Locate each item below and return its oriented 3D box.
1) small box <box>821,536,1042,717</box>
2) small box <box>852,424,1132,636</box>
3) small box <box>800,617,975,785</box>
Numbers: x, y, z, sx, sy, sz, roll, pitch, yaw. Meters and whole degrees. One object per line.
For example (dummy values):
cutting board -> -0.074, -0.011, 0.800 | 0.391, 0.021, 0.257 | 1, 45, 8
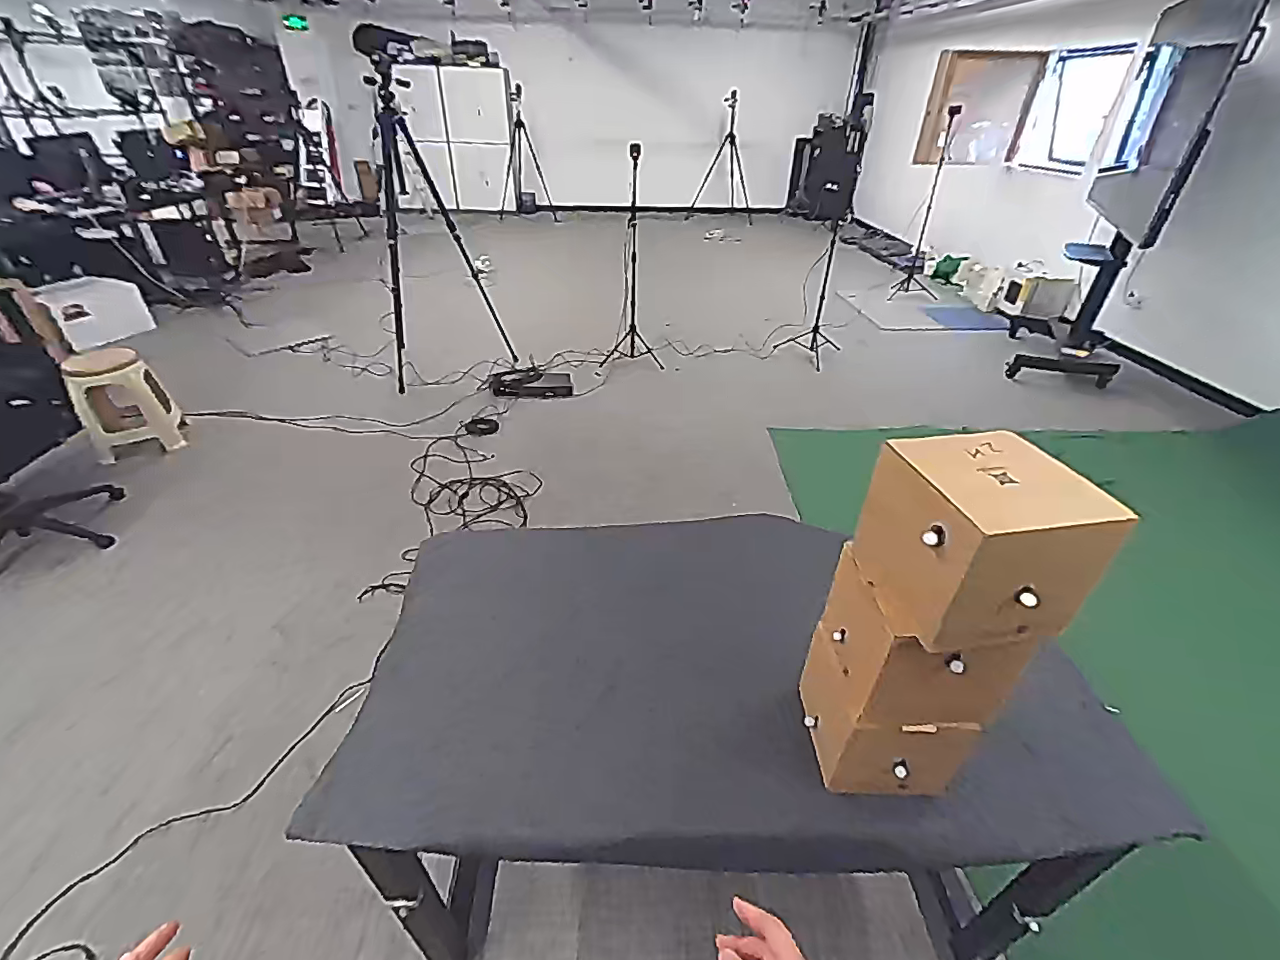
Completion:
small box -> 0.357, 0.188, 0.704 | 0.179, 0.176, 0.168 | -1, 34, -1
small box -> 0.366, 0.056, 0.604 | 0.168, 0.176, 0.179 | -5, 34, -8
small box -> 0.346, 0.323, 0.795 | 0.168, 0.176, 0.179 | 0, 35, 0
